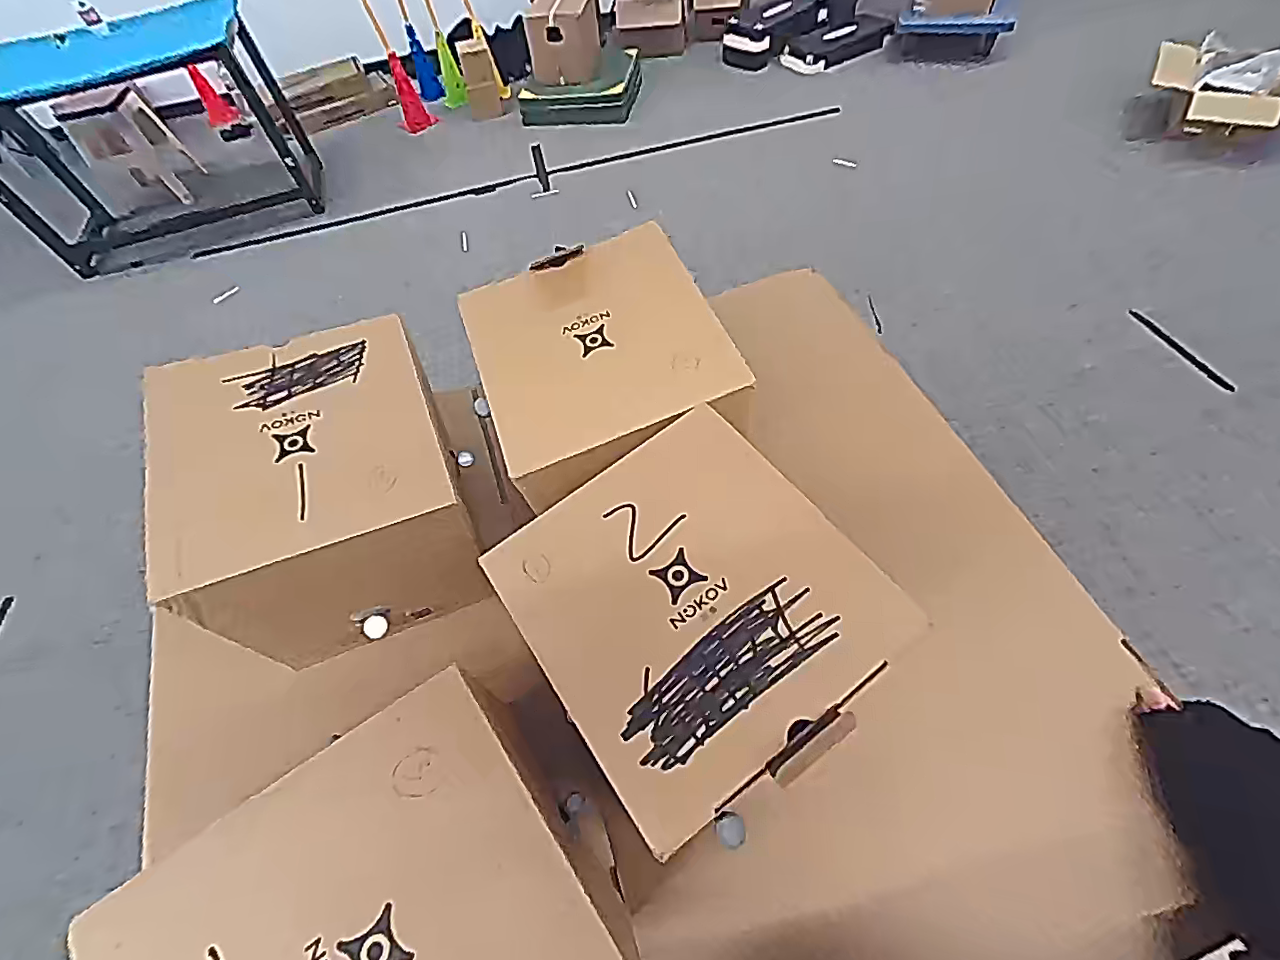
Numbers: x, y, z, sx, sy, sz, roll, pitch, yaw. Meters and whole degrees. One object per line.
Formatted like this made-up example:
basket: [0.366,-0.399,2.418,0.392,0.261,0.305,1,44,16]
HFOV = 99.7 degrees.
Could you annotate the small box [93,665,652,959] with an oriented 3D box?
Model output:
small box: [-0.113,0.231,0.290,0.179,0.176,0.168,-32,67,-19]
